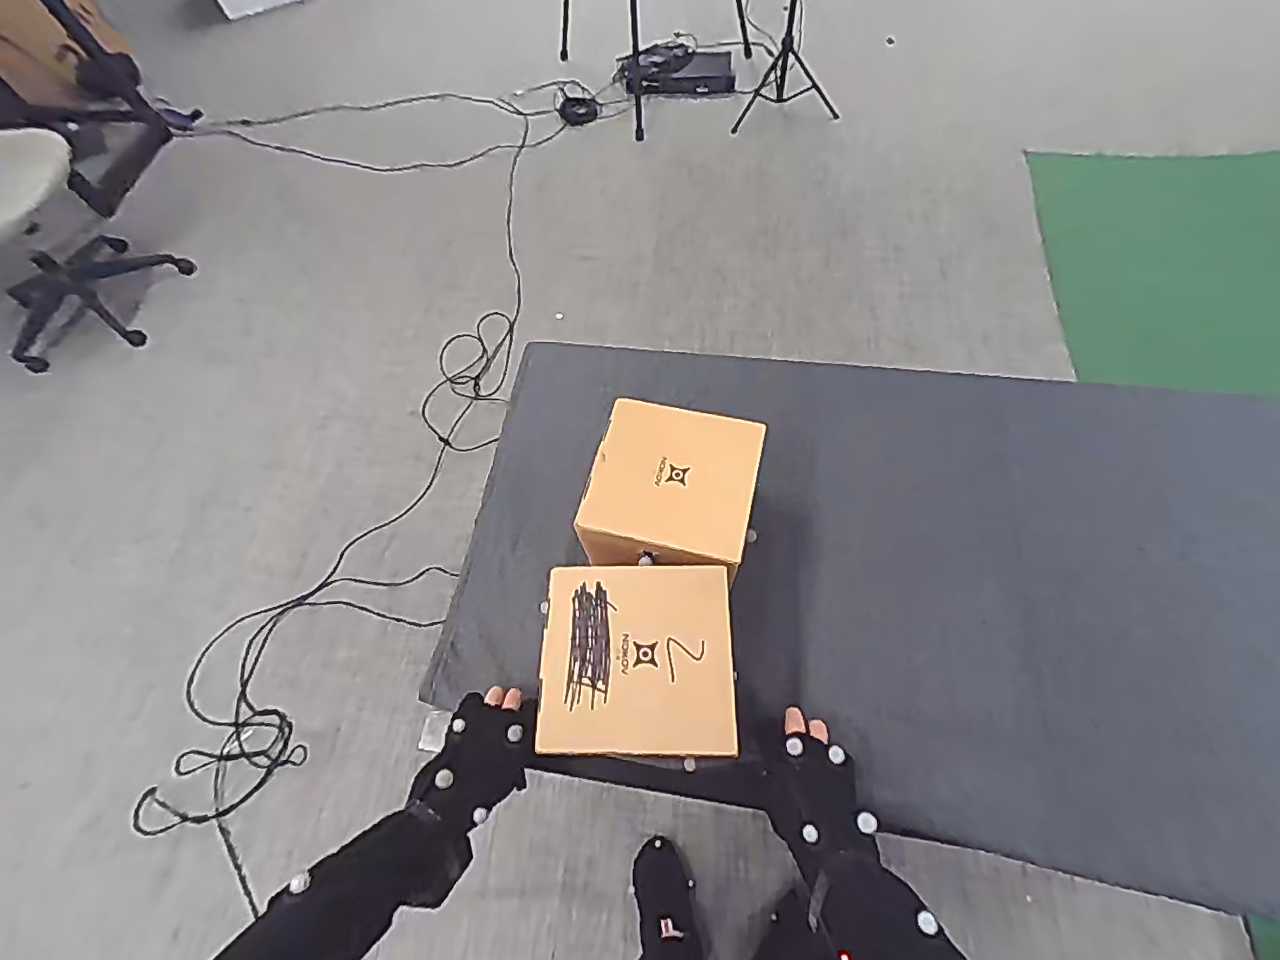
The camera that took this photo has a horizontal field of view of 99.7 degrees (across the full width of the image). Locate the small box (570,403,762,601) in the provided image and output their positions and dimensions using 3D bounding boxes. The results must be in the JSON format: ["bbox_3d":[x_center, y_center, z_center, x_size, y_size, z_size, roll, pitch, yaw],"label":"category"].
[{"bbox_3d":[0.037,0.034,0.645,0.179,0.176,0.168,11,64,11],"label":"small box"}]
